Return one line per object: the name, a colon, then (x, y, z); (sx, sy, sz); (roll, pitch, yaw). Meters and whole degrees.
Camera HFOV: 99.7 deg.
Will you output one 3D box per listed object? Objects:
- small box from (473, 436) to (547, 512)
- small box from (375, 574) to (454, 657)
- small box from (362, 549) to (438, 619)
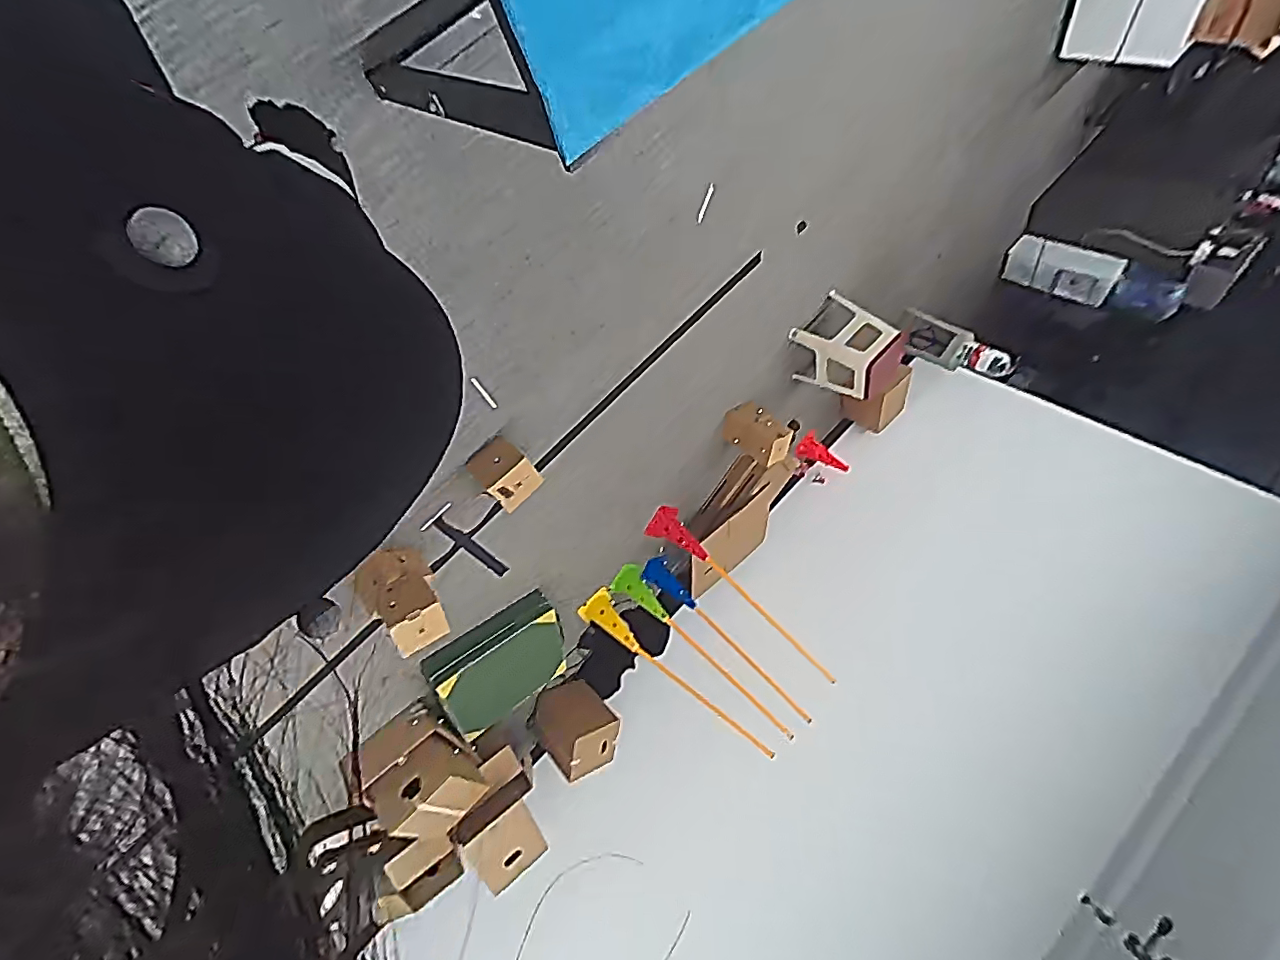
small box: (-0.473, -0.023, 1.942); (0.179, 0.176, 0.168); (-44, 146, -13)
small box: (-0.738, 0.434, 1.768); (0.168, 0.176, 0.179); (-28, 141, -28)
small box: (-0.837, 0.349, 1.872); (0.168, 0.176, 0.179); (4, 119, -51)
